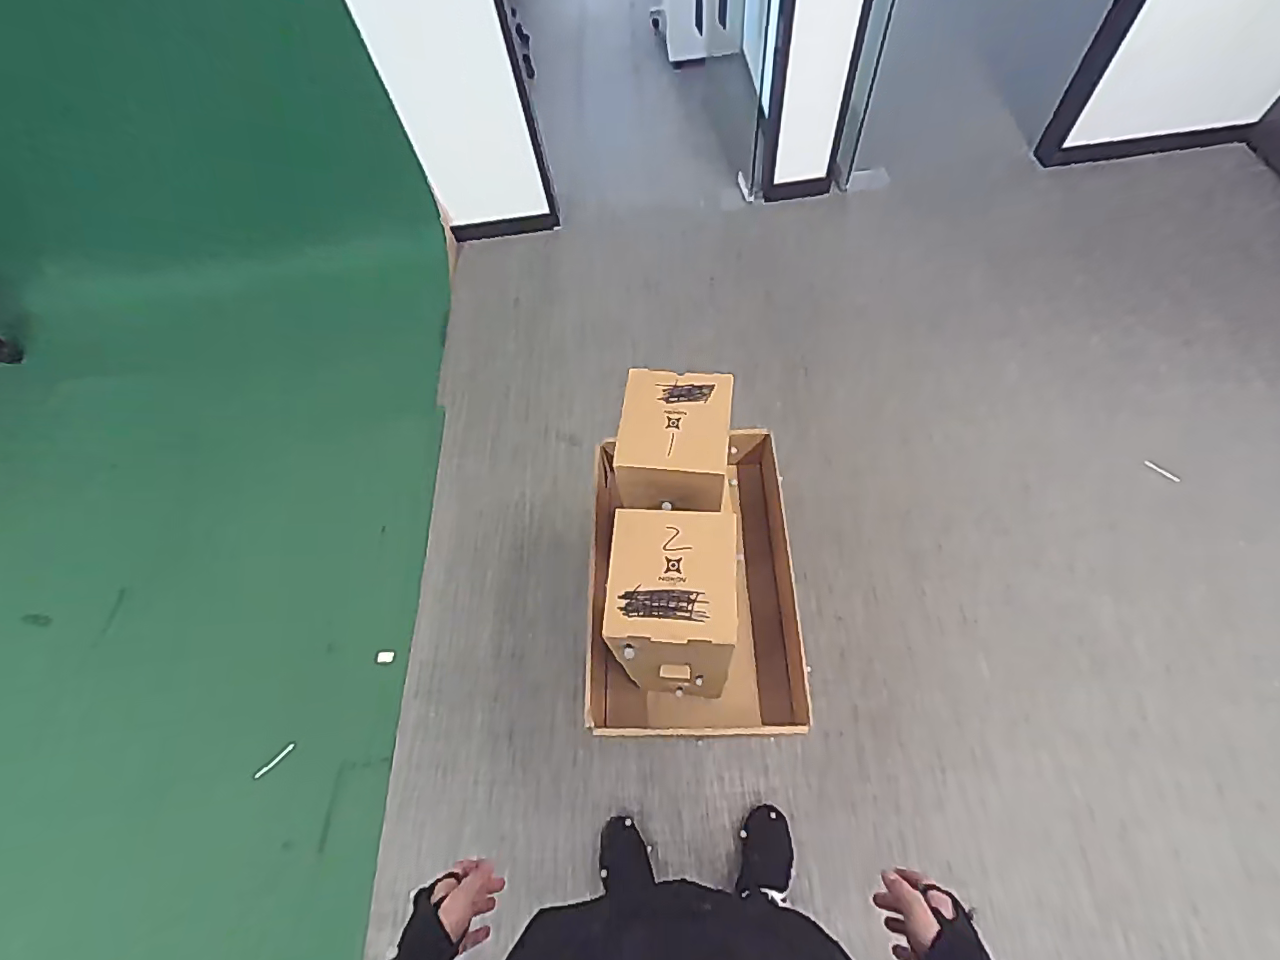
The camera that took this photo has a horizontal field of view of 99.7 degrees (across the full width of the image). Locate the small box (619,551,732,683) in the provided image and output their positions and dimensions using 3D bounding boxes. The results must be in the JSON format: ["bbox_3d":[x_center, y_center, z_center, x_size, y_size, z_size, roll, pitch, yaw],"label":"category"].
[{"bbox_3d":[0.065,0.234,0.904,0.168,0.176,0.179,3,61,6],"label":"small box"}]

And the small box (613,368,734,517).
[{"bbox_3d":[0.058,-0.057,0.879,0.168,0.176,0.179,5,65,9],"label":"small box"}]

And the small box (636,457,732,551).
[{"bbox_3d":[0.079,0.022,1.022,0.168,0.176,0.179,-3,63,4],"label":"small box"}]

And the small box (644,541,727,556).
[{"bbox_3d":[0.095,0.094,1.166,0.168,0.176,0.179,-4,63,5],"label":"small box"}]
